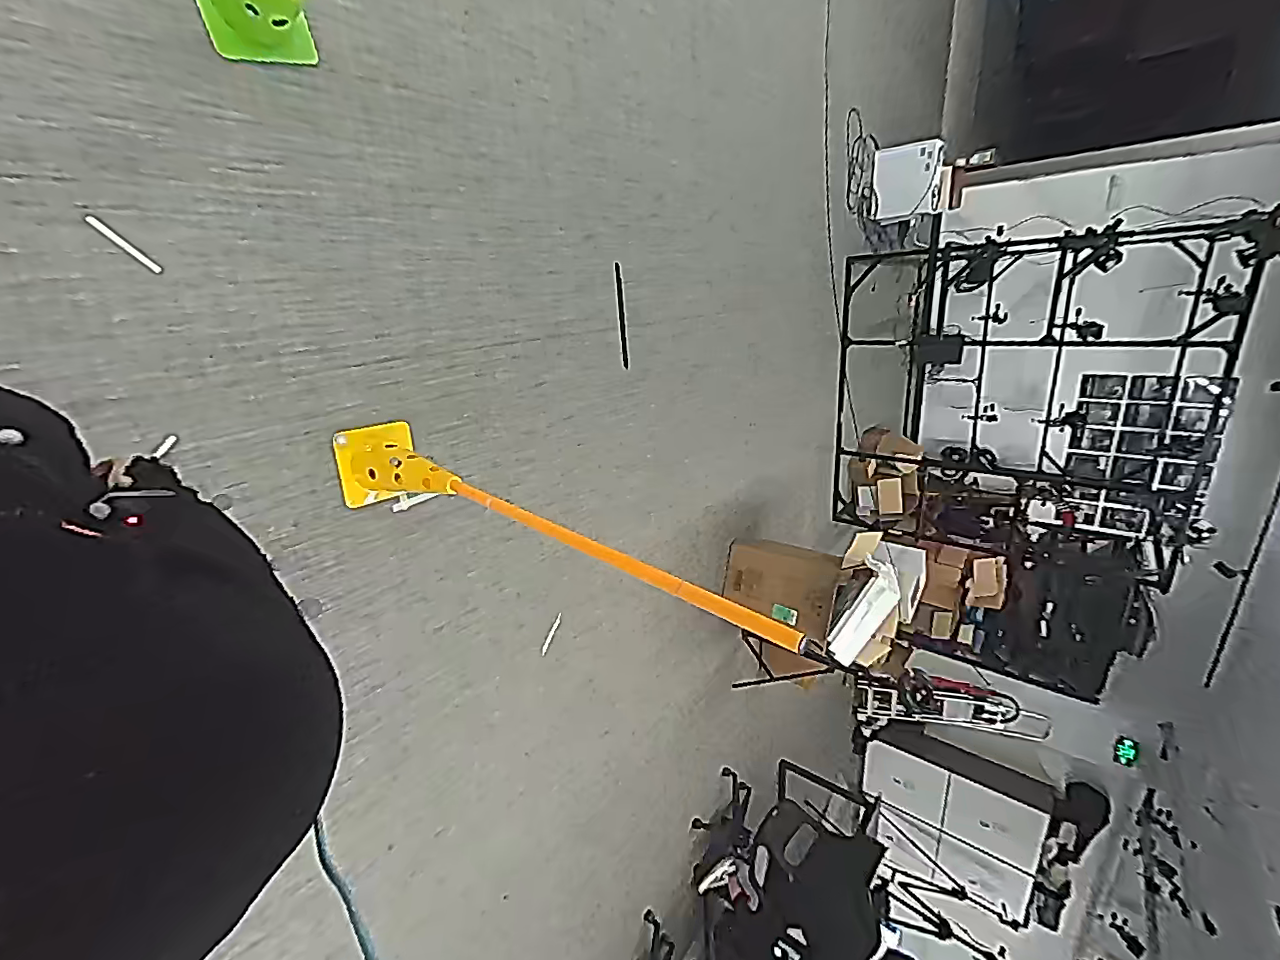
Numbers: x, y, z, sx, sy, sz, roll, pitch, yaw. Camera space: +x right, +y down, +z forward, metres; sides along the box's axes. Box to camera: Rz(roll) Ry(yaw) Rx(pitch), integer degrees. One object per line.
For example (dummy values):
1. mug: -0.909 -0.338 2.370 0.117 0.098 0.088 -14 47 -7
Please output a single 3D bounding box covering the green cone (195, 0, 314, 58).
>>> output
1. green cone: -0.636 -0.922 0.956 0.200 0.368 0.202 -37 128 -41
